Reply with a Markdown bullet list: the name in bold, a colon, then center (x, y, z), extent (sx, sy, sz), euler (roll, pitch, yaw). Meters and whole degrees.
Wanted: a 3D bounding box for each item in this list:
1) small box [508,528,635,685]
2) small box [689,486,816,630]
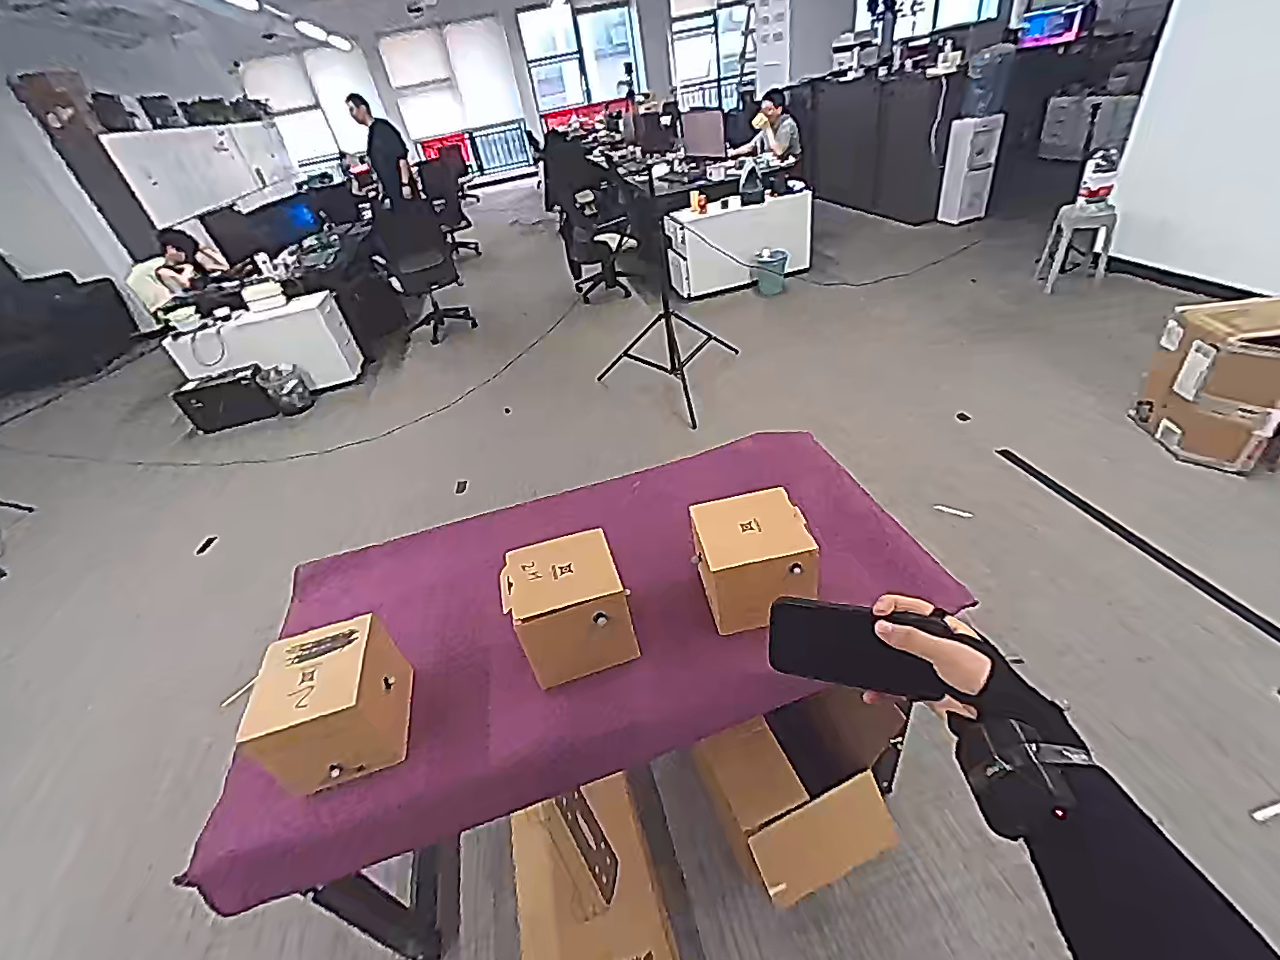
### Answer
- **small box**: center (-0.113, 0.216, 0.927), extent (0.179, 0.176, 0.168), euler (-17, 35, -7)
- **small box**: center (0.195, 0.139, 0.948), extent (0.179, 0.176, 0.168), euler (-12, 37, -2)
